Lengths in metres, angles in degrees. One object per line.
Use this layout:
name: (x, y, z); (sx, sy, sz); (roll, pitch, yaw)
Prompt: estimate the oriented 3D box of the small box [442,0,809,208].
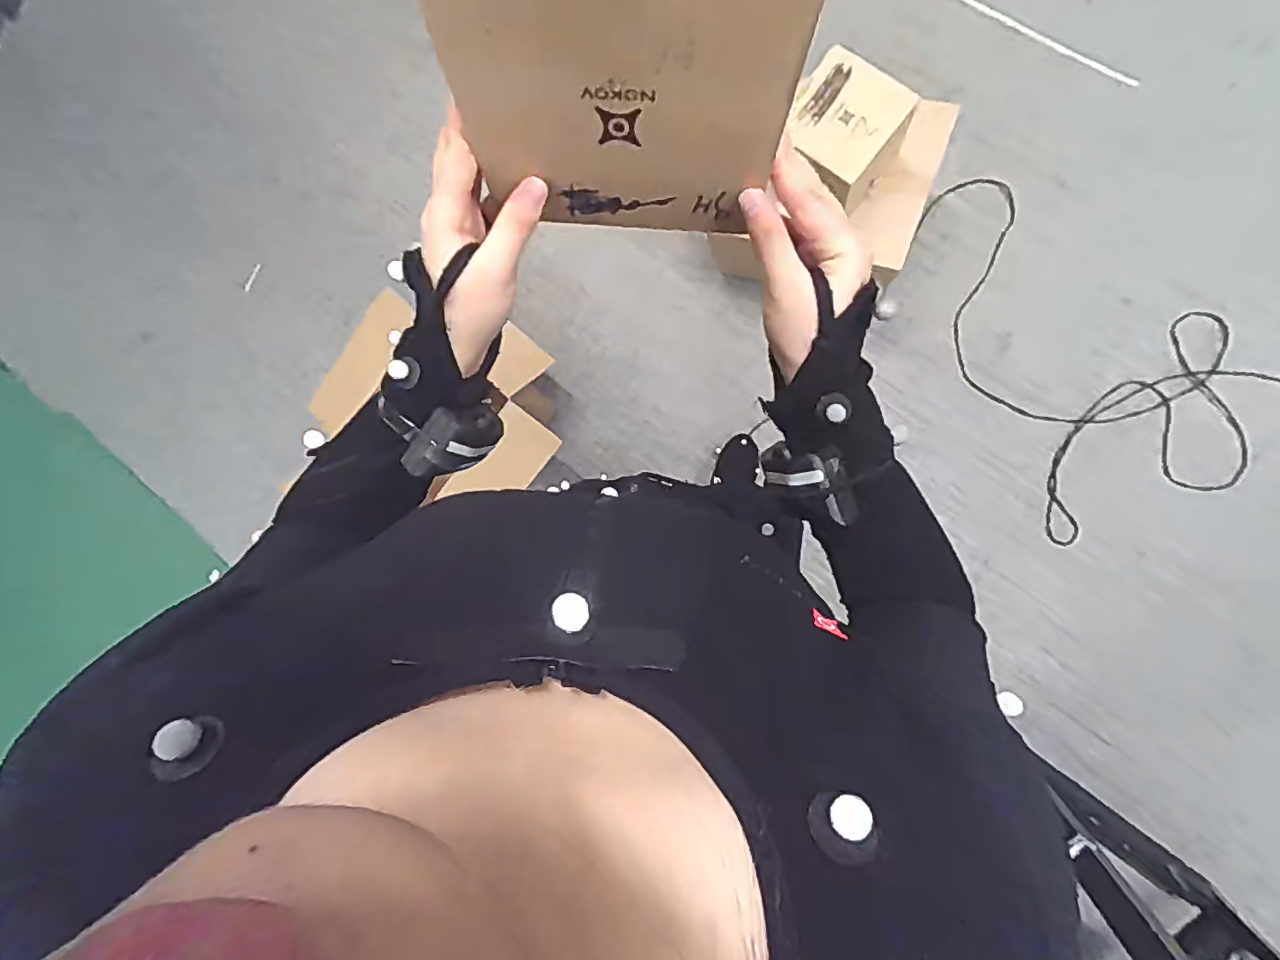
small box: (-0.004, -0.283, 0.294); (0.168, 0.179, 0.176); (3, 79, 1)
